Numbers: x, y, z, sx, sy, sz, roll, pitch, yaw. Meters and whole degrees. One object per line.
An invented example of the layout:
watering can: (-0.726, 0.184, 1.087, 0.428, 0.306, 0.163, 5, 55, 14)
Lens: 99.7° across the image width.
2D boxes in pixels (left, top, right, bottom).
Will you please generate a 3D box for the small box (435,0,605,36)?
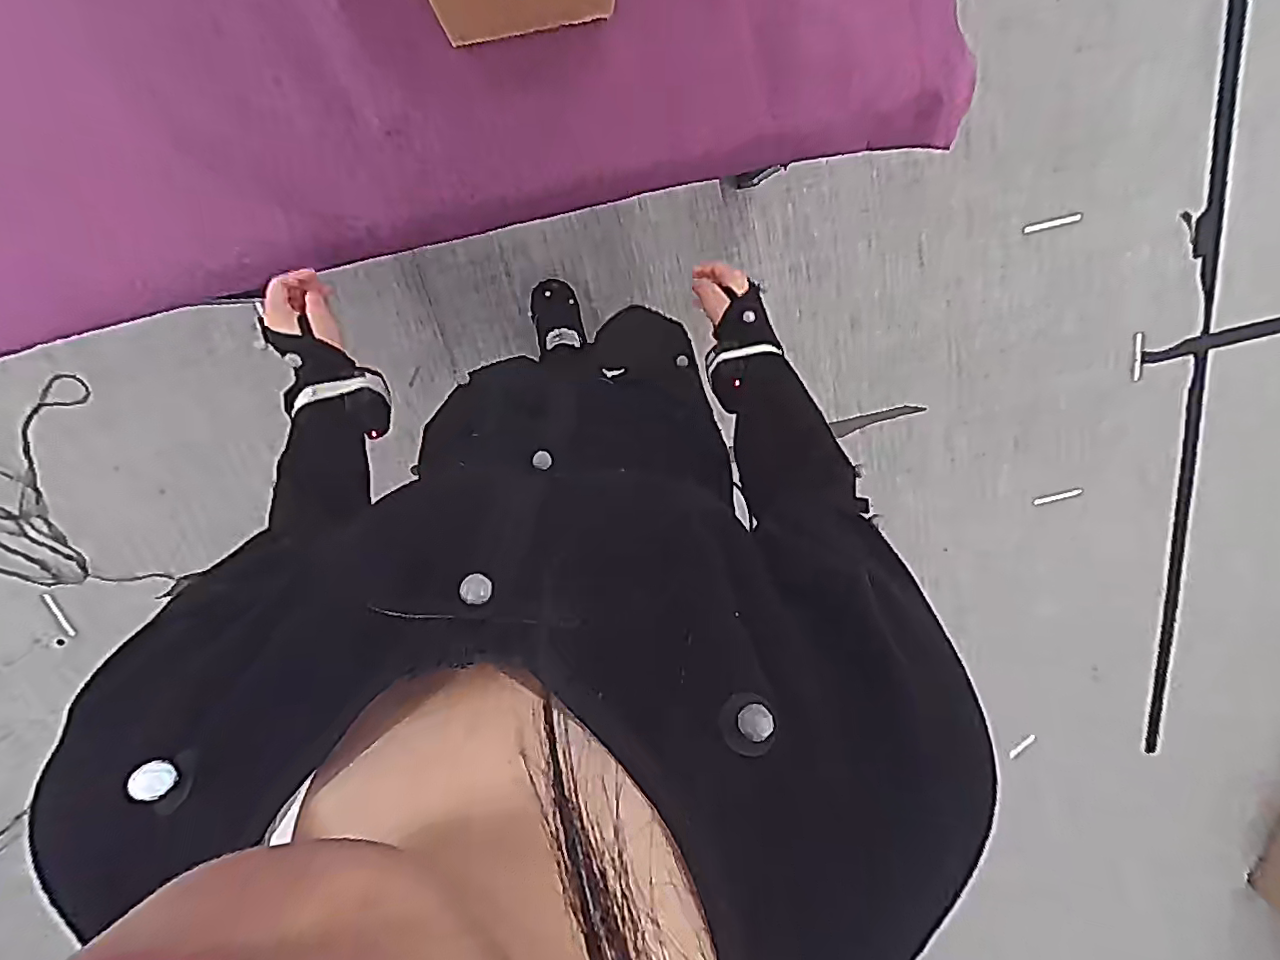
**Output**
small box: (-0.122, -0.528, 0.471, 0.179, 0.176, 0.168, -12, 111, -2)

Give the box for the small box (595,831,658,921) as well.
small box: (-0.051, 1.393, 1.909, 0.168, 0.176, 0.179, -24, 109, 1)
